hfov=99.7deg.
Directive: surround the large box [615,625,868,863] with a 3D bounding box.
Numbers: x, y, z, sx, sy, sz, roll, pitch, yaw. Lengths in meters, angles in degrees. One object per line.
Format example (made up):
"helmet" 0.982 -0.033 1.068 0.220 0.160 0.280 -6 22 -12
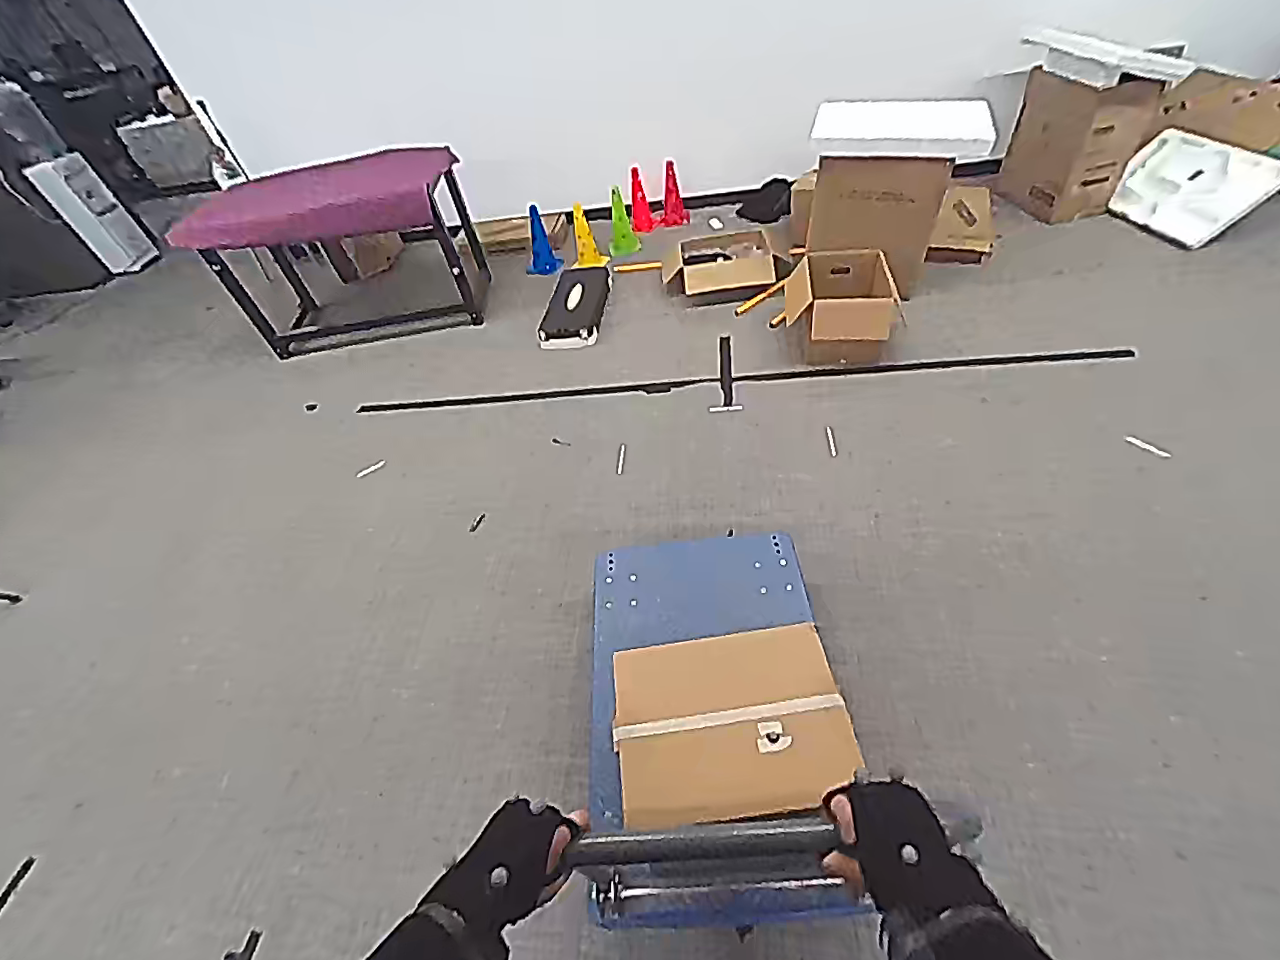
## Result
"large box" 0.177 0.533 1.086 0.408 0.320 0.320 -9 47 1
